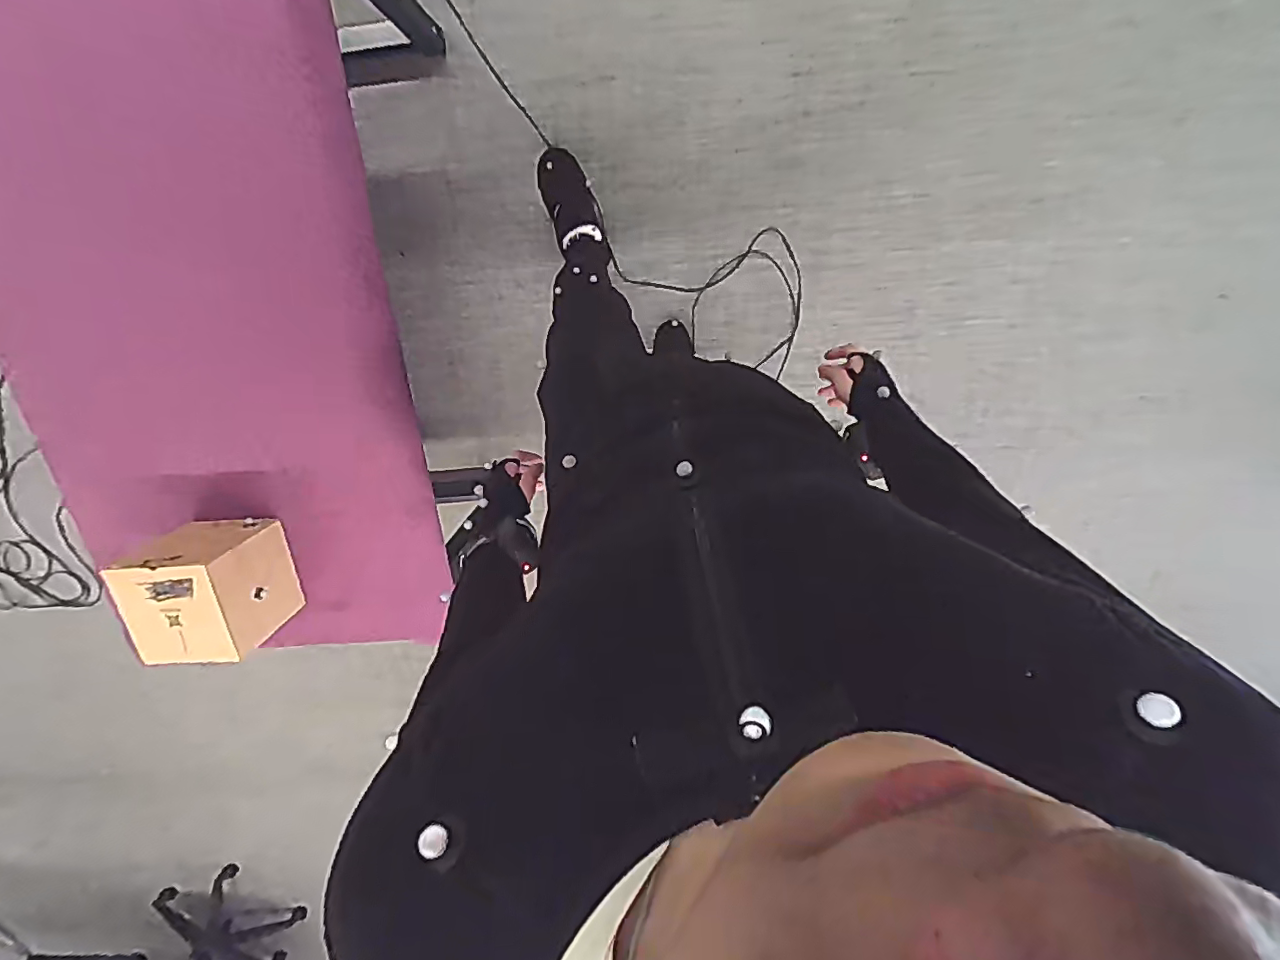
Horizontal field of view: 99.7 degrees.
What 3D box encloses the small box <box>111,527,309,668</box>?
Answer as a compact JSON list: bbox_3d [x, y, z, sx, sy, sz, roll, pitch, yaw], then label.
[{"bbox_3d":[-0.693,0.185,0.896,0.168,0.176,0.179,-2,110,4],"label":"small box"}]
